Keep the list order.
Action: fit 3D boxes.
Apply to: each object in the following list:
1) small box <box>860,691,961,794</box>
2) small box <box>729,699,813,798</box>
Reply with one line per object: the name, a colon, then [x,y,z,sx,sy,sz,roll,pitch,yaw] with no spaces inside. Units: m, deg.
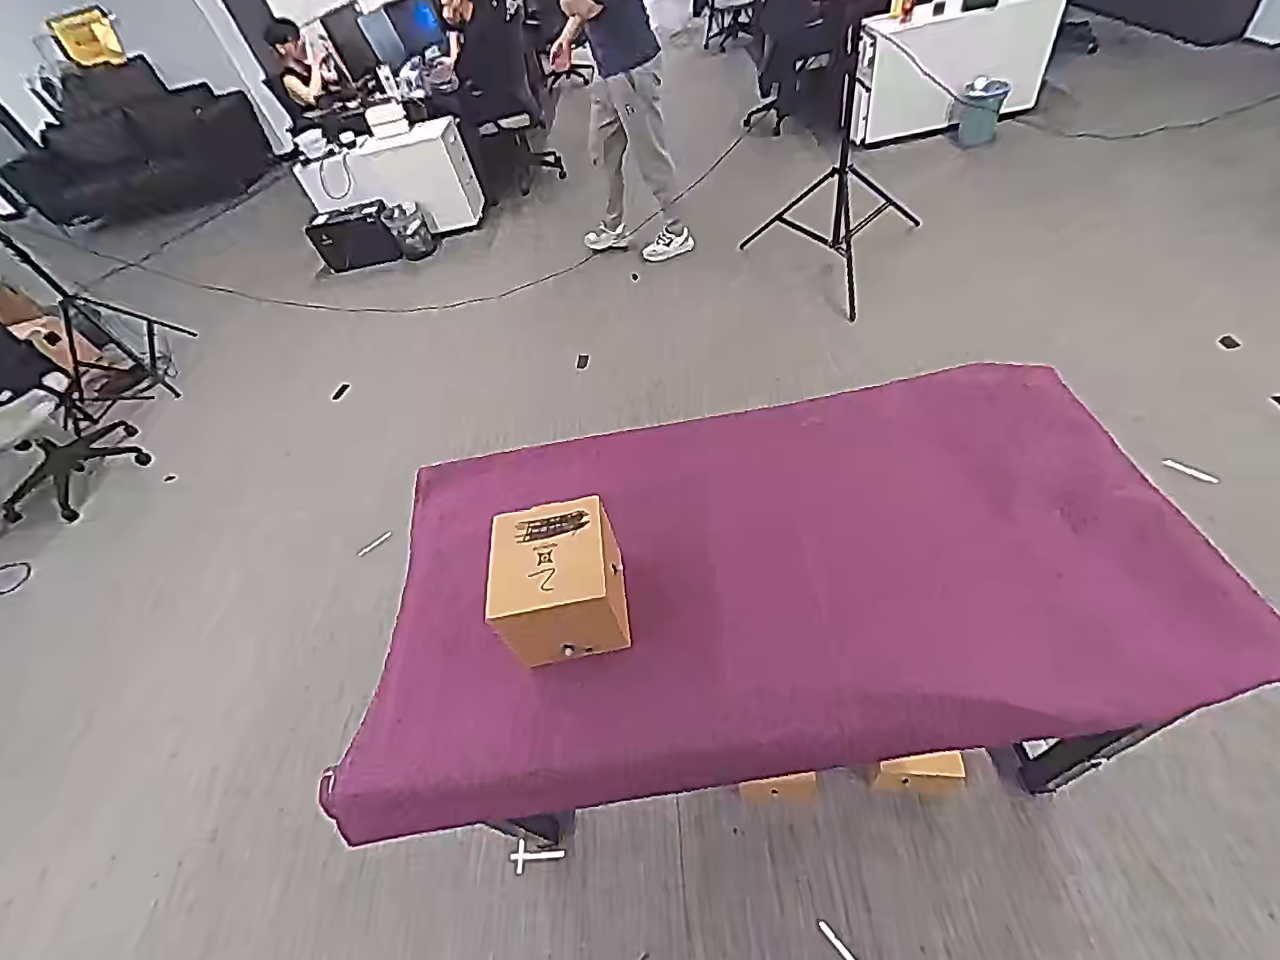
small box: [0.610,0.604,1.240,0.168,0.176,0.179,-2,49,12]
small box: [0.306,0.640,1.280,0.168,0.176,0.179,-7,48,7]
